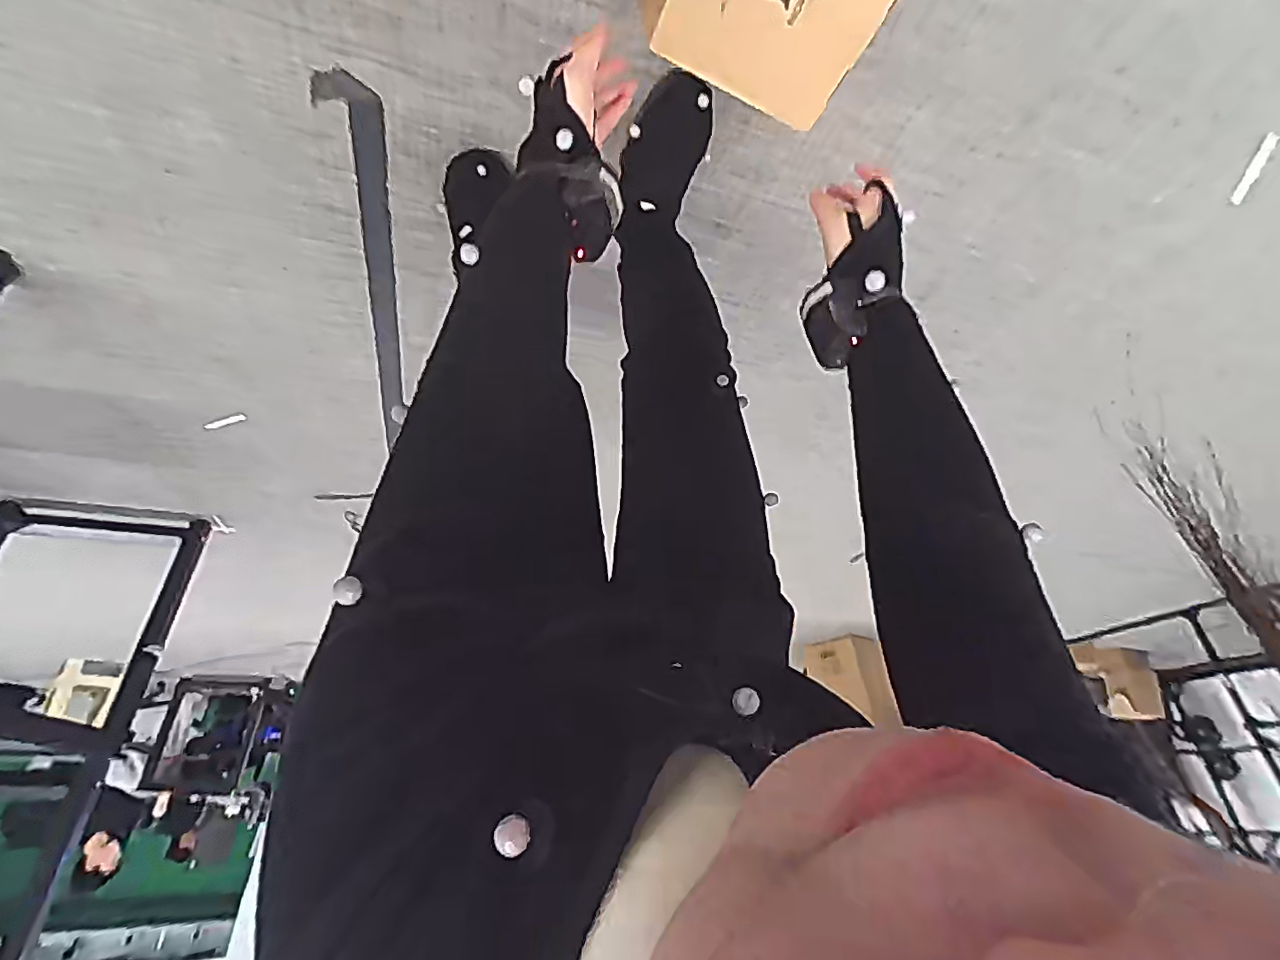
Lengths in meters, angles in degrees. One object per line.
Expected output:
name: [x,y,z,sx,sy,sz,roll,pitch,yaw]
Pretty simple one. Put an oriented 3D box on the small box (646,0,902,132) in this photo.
small box: [0.117,-0.457,0.467,0.179,0.176,0.168,12,145,-23]
